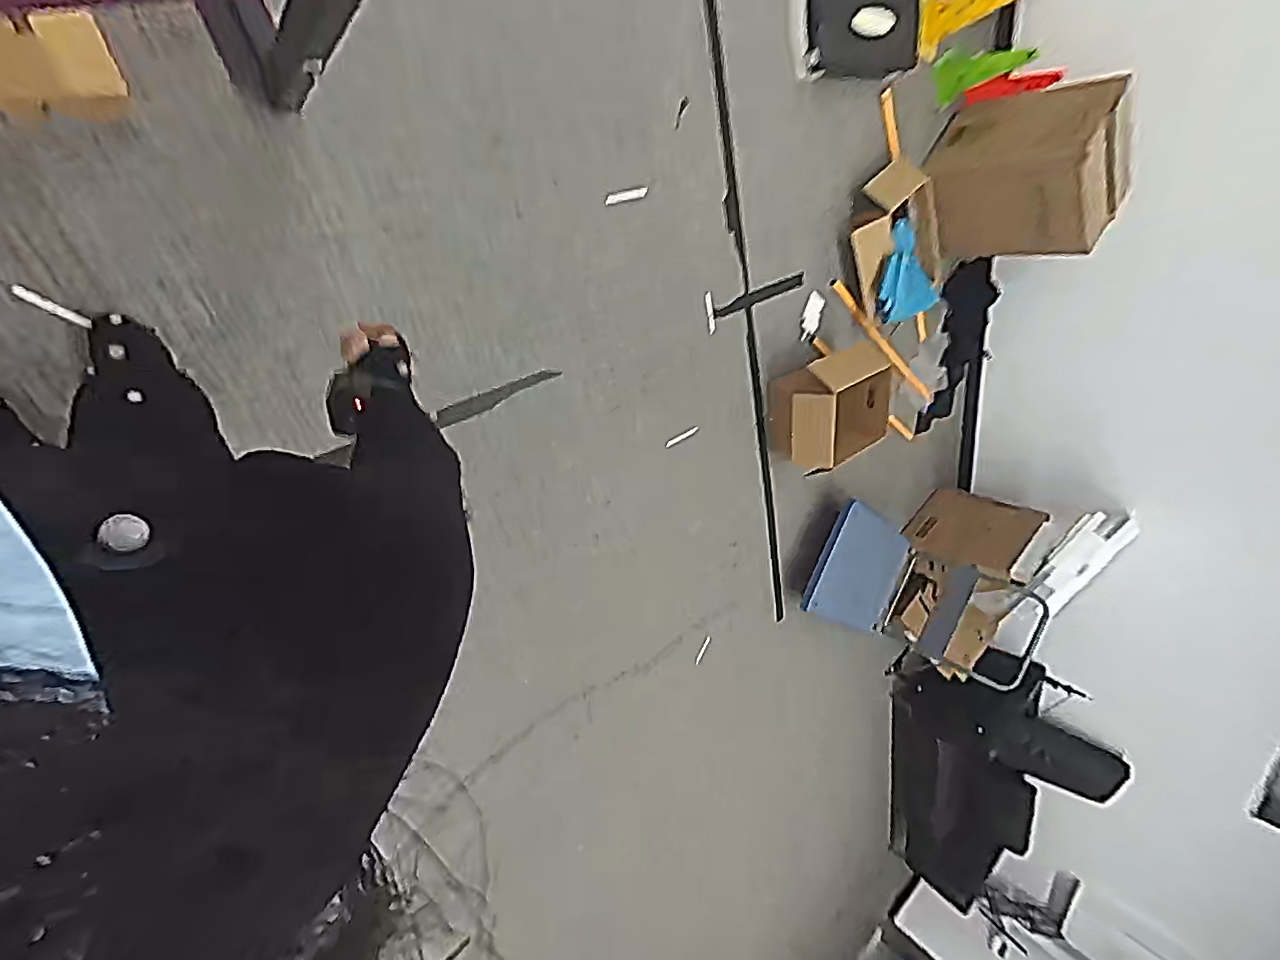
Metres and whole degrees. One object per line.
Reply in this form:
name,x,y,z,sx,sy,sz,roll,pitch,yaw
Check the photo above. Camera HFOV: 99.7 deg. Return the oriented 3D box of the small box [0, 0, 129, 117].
small box,-0.907,-0.656,0.802,0.168,0.176,0.179,-27,120,-31
